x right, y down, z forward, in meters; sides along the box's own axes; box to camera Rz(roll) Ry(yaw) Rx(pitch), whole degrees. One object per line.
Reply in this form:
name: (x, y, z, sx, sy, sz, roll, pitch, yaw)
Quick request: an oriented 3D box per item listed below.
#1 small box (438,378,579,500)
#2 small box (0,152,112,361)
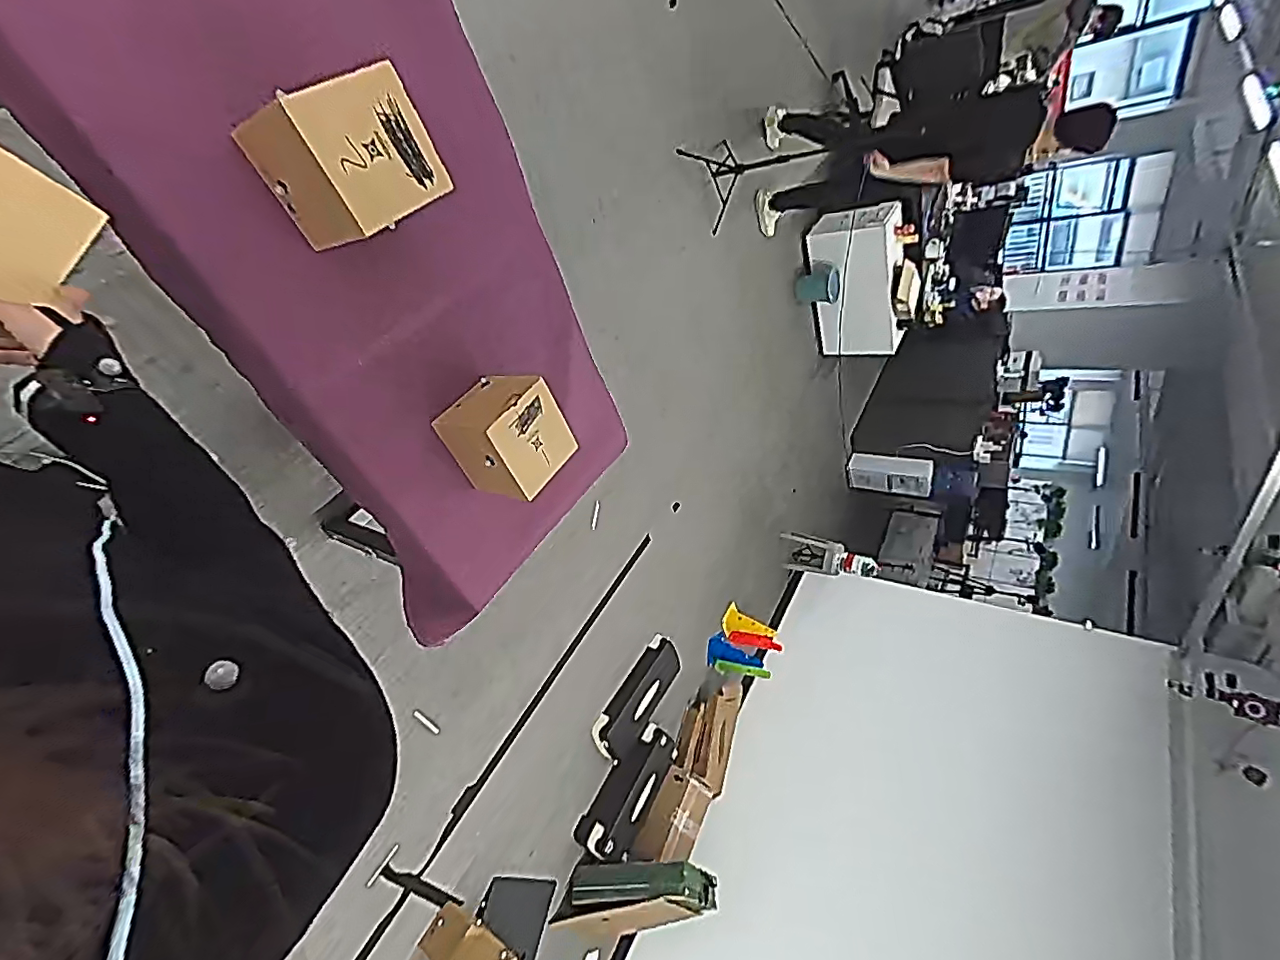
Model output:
small box: (-0.258, -0.085, 1.066, 0.168, 0.176, 0.179, -53, 135, -33)
small box: (-0.695, -0.231, 0.531, 0.179, 0.176, 0.168, 38, 50, -50)
